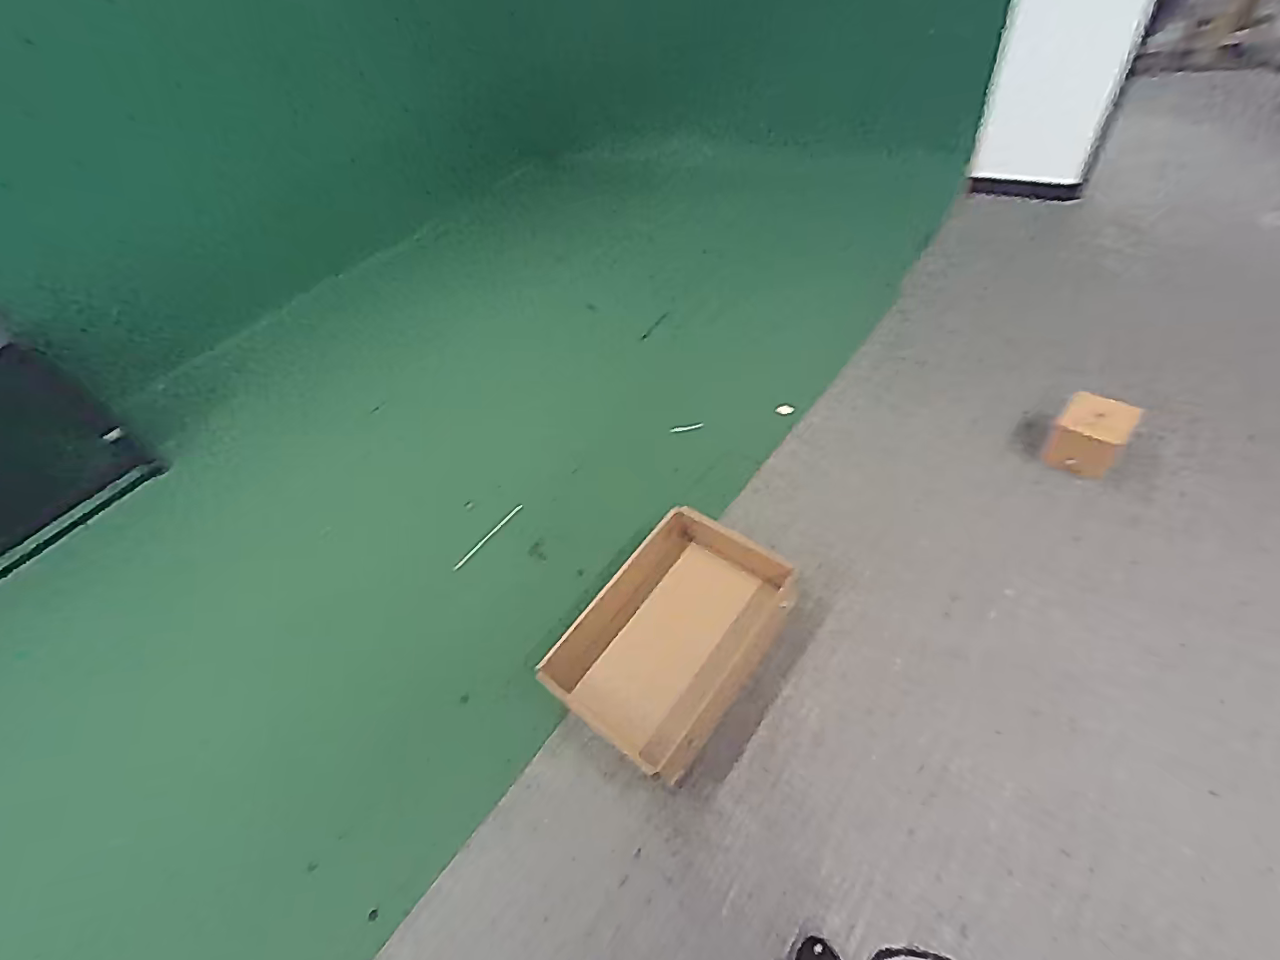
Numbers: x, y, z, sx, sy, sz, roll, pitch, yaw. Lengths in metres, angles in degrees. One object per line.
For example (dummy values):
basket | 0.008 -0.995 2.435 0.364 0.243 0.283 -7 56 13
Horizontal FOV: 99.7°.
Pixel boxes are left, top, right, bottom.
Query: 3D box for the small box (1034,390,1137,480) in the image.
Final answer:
small box | 1.329 -0.135 1.625 0.168 0.176 0.179 32 64 33
